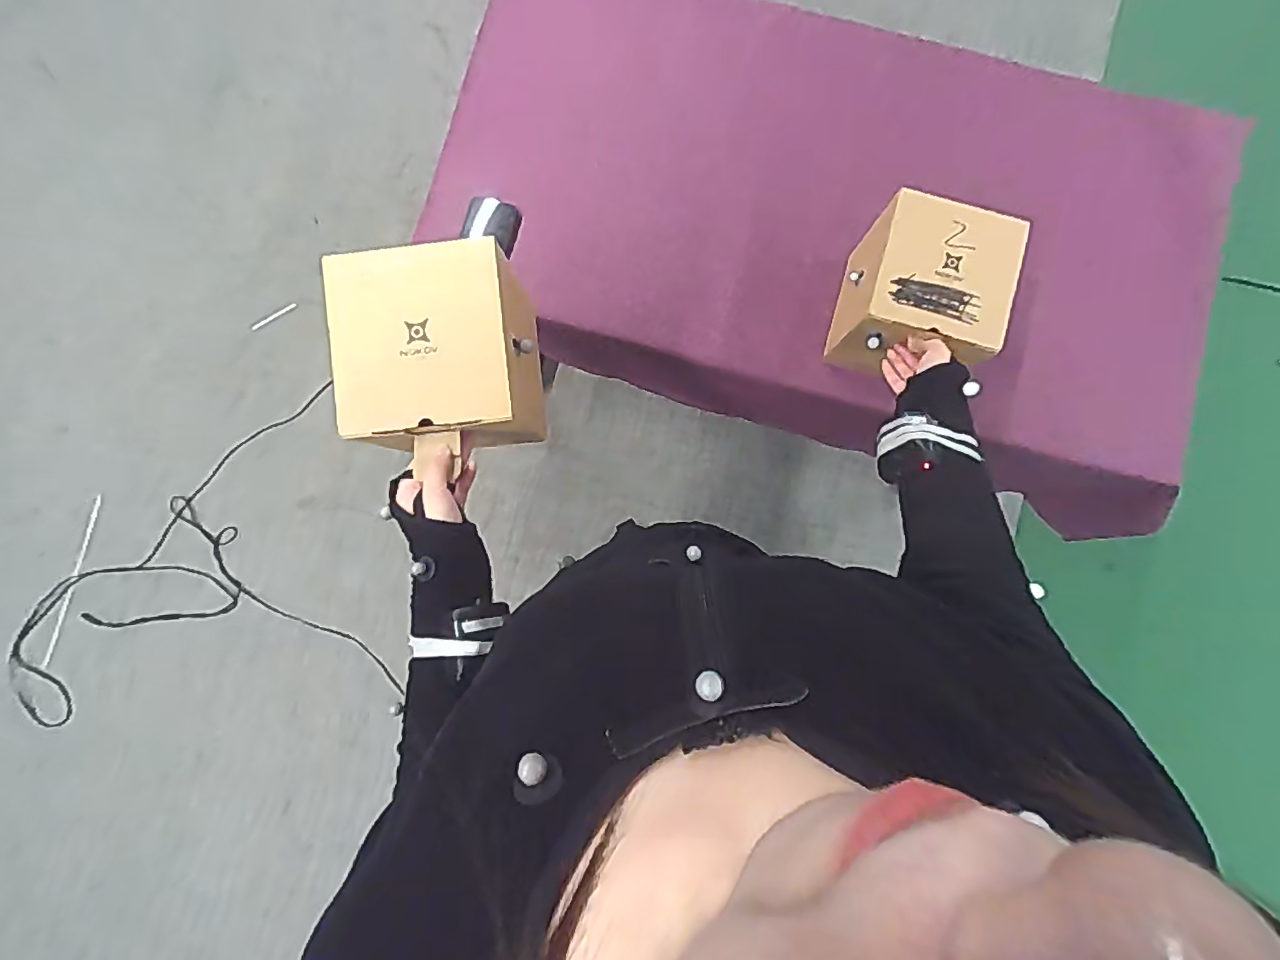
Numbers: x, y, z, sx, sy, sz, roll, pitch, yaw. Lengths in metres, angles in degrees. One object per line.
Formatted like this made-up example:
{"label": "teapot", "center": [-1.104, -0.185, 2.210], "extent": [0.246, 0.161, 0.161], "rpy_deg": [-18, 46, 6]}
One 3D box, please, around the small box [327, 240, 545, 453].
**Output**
{"label": "small box", "center": [-0.203, -0.129, 0.582], "extent": [0.168, 0.176, 0.179], "rpy_deg": [-6, 89, 0]}
